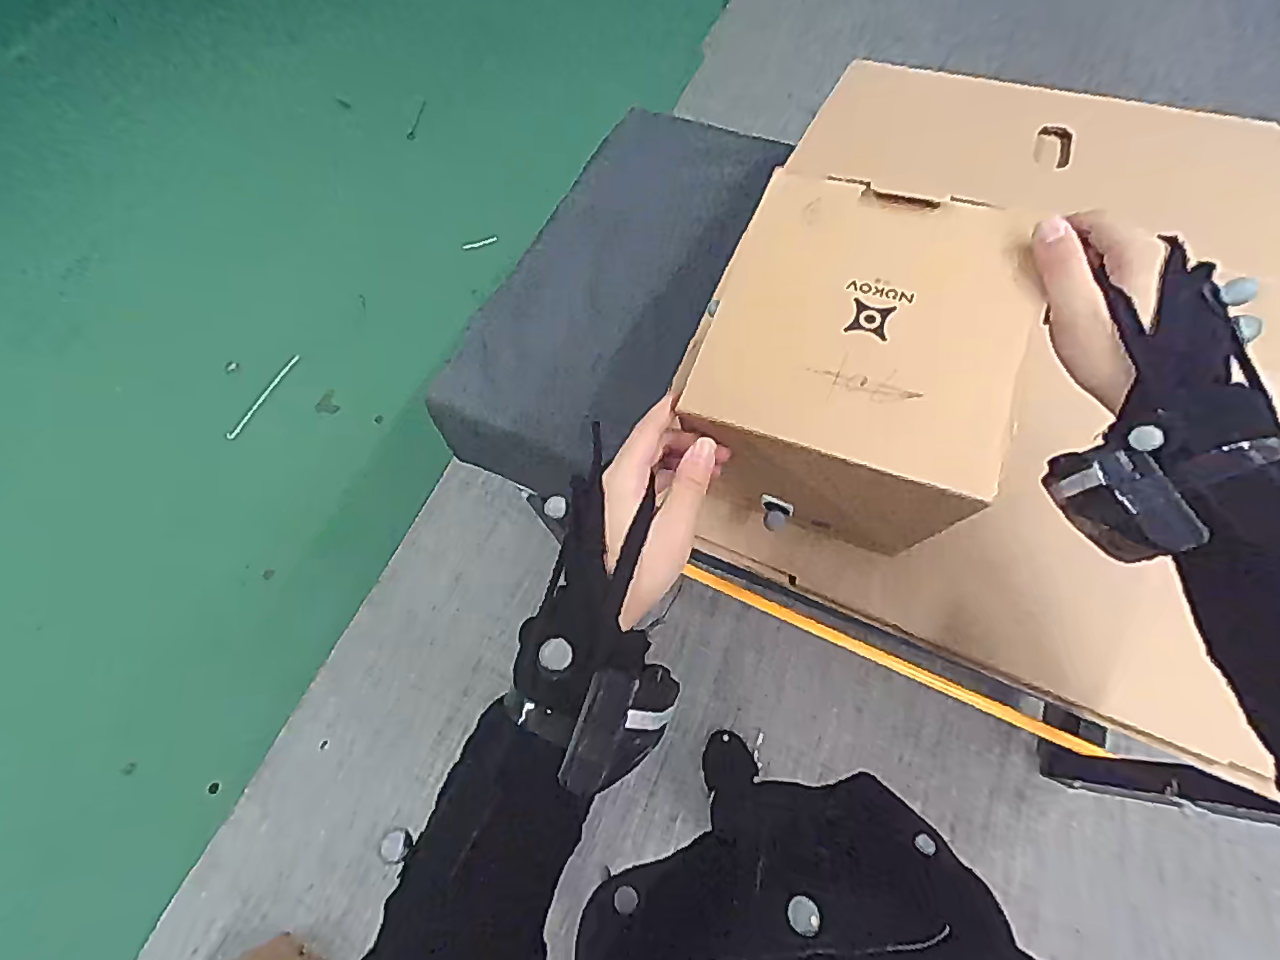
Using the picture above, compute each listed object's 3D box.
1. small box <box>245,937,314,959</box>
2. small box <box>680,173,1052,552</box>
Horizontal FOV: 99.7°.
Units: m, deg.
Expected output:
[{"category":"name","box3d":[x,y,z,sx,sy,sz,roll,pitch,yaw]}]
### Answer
[{"category":"small box","box3d":[-0.685,0.979,0.968,0.168,0.176,0.179,24,71,15]},{"category":"small box","box3d":[0.137,-0.067,0.378,0.168,0.176,0.179,19,77,15]}]
